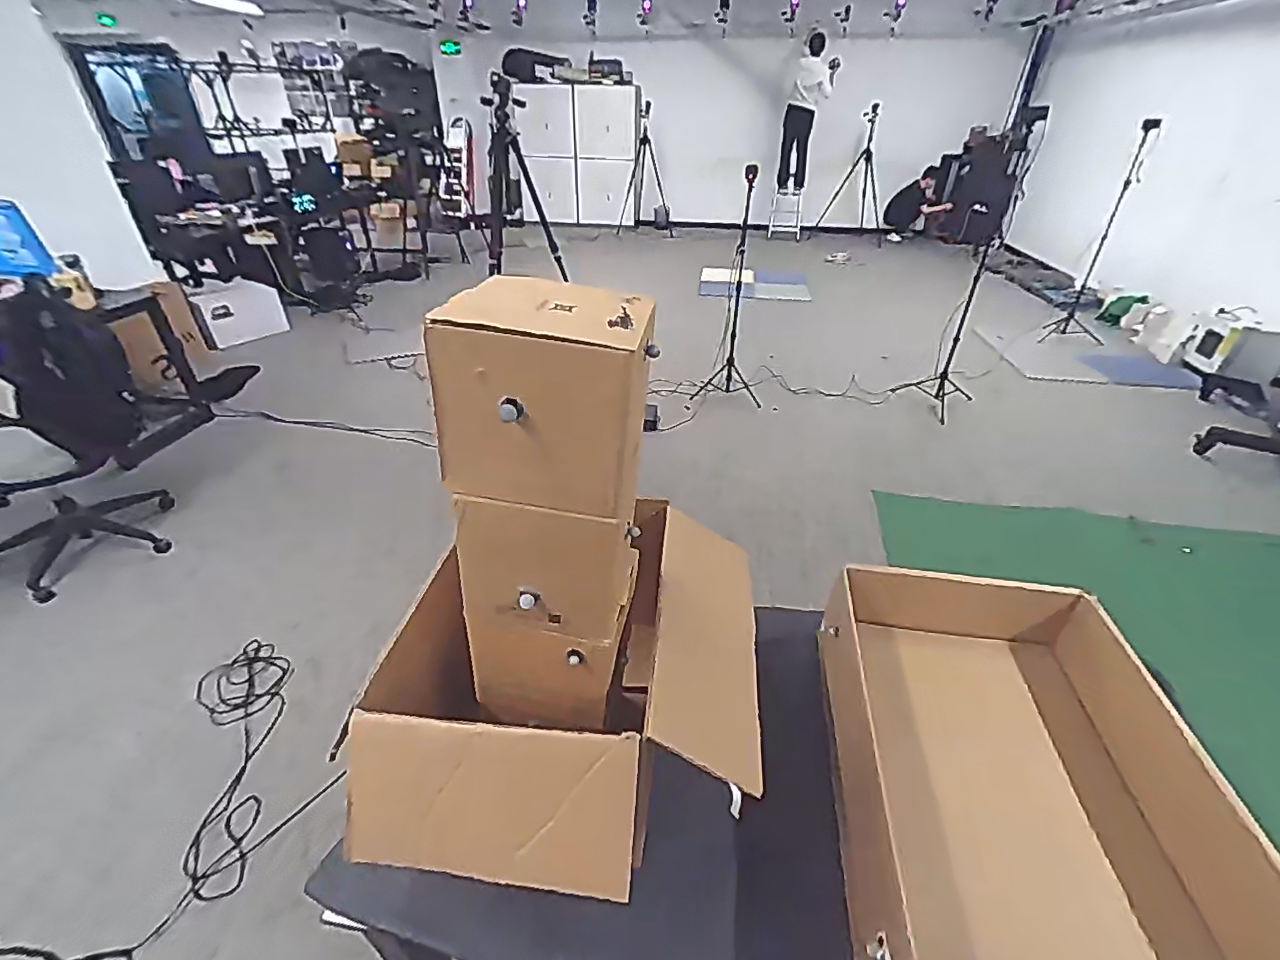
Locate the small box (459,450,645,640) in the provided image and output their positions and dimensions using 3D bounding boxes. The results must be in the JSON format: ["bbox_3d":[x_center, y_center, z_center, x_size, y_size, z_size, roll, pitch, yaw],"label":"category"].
[{"bbox_3d":[-0.093,0.053,0.626,0.168,0.176,0.179,8,34,3],"label":"small box"}]

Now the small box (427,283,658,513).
[{"bbox_3d":[-0.083,-0.084,0.537,0.179,0.176,0.168,8,33,3],"label":"small box"}]
